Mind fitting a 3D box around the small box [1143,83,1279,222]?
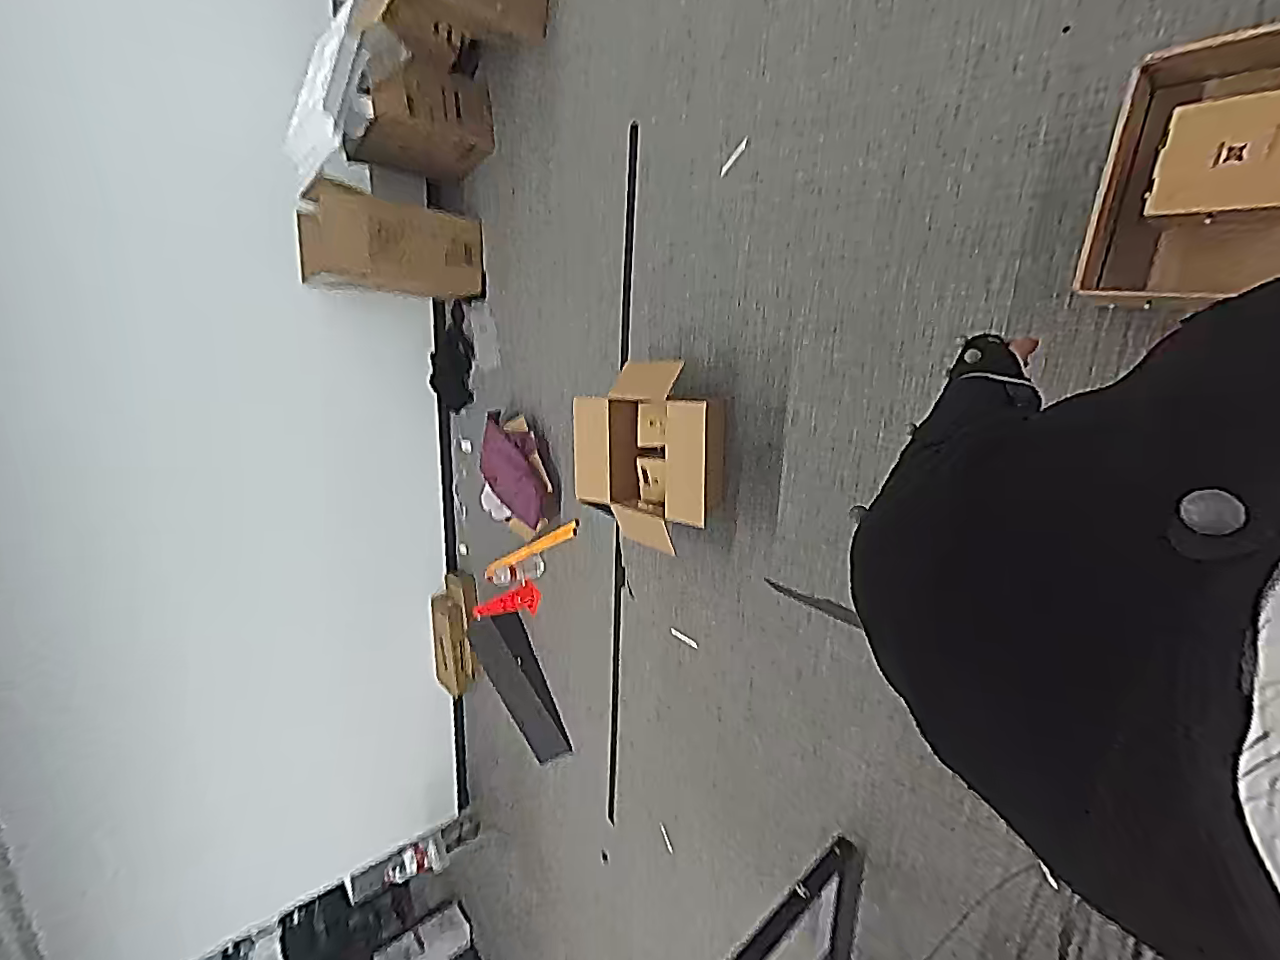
[{"bbox_3d":[0.990,-0.537,0.903,0.179,0.176,0.168,20,115,44],"label":"small box"}]
